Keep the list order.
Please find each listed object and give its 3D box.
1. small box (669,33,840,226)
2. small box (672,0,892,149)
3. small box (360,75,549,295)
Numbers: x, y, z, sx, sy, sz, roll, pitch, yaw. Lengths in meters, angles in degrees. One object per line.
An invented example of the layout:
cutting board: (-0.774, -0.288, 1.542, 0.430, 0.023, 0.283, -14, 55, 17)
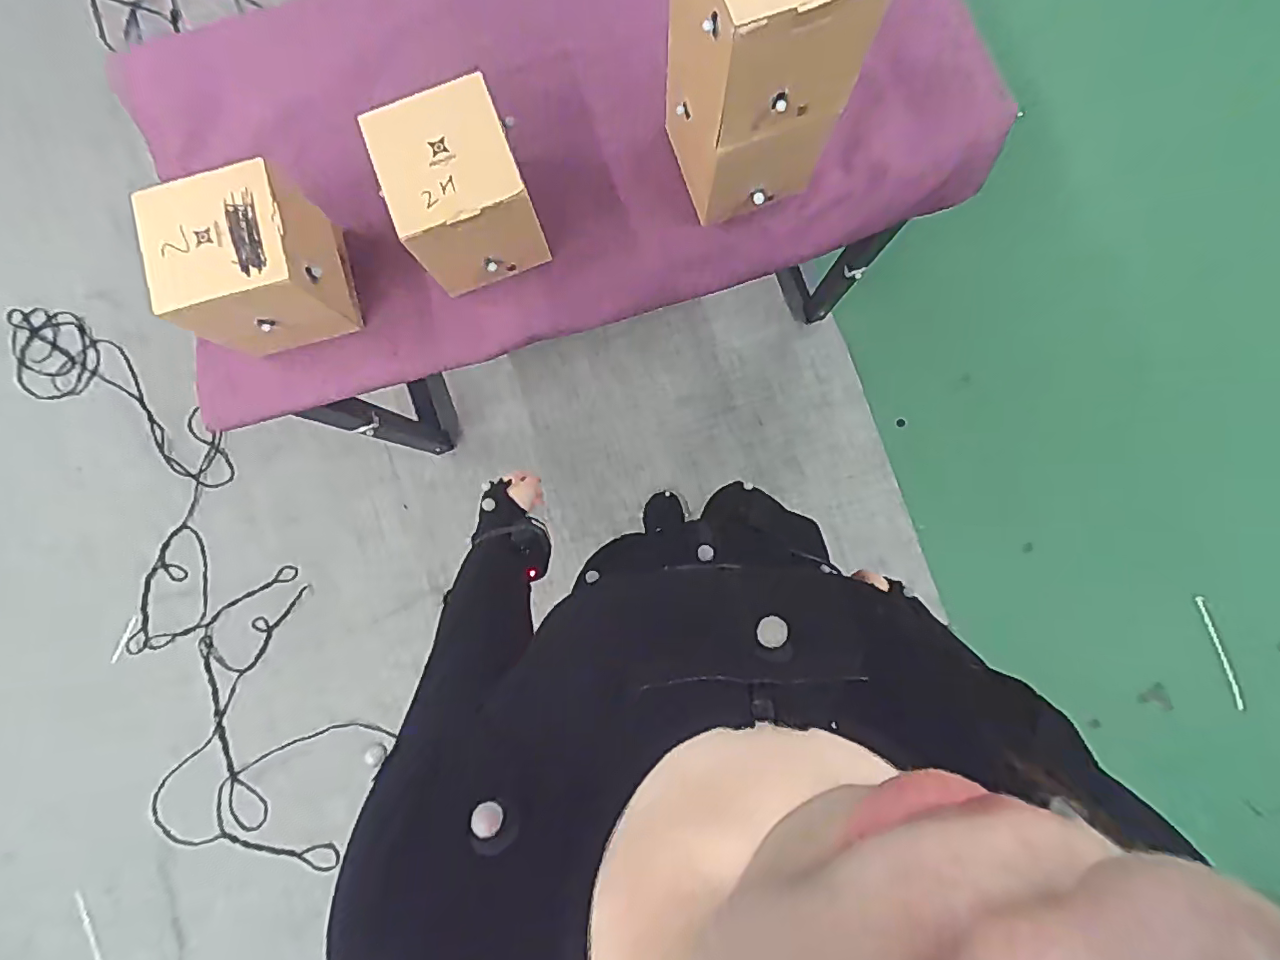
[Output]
small box: (0.142, -0.490, 0.741, 0.168, 0.176, 0.179, -19, 86, 0)
small box: (0.138, -0.507, 0.579, 0.168, 0.176, 0.179, -20, 86, 0)
small box: (-0.240, -0.388, 0.740, 0.168, 0.176, 0.179, -21, 85, 0)
